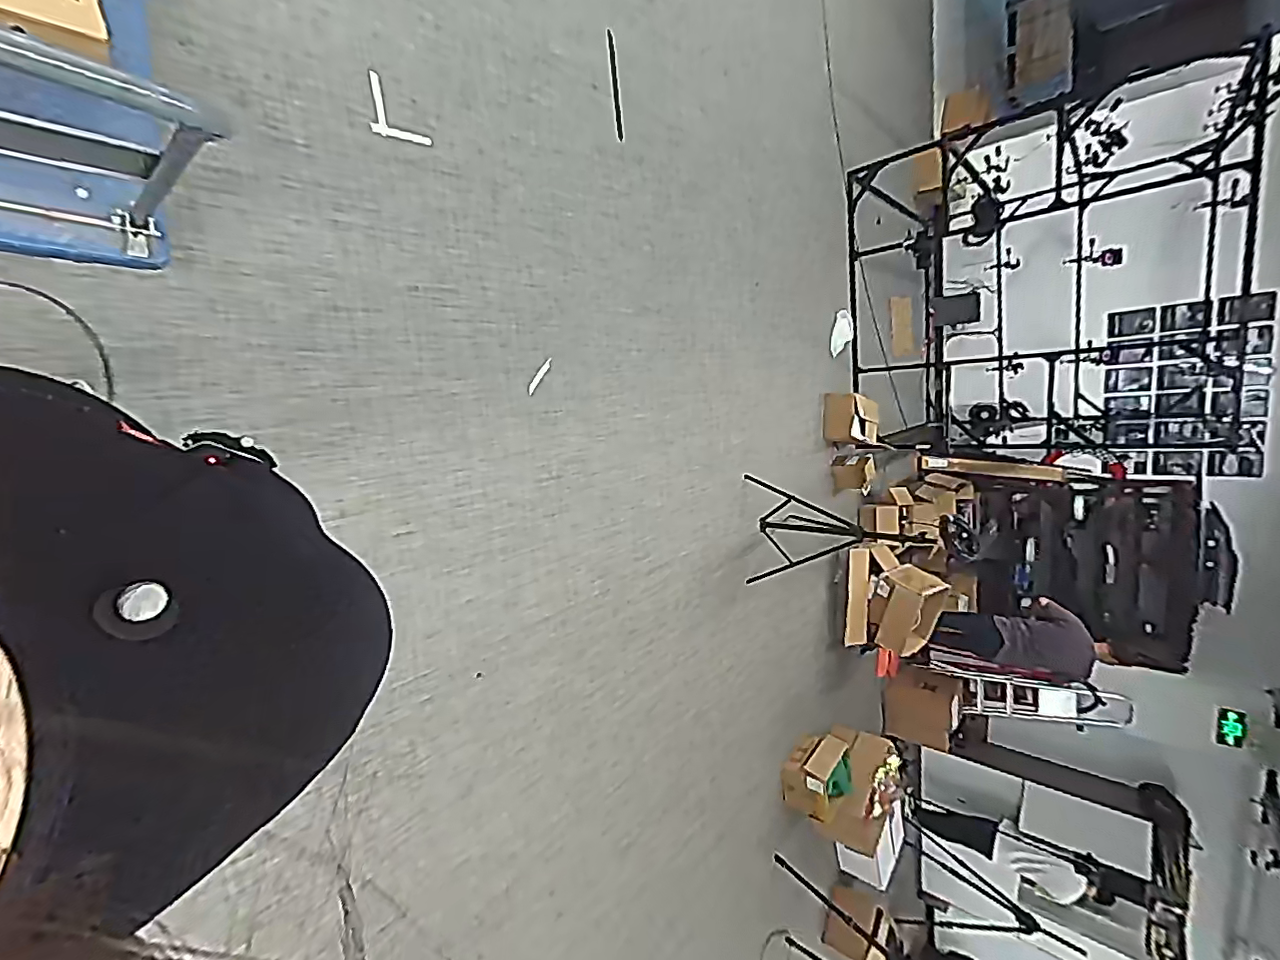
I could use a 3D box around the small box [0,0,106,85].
[{"bbox_3d":[-0.962,-0.751,0.828,0.179,0.176,0.168,-16,104,-47],"label":"small box"}]
